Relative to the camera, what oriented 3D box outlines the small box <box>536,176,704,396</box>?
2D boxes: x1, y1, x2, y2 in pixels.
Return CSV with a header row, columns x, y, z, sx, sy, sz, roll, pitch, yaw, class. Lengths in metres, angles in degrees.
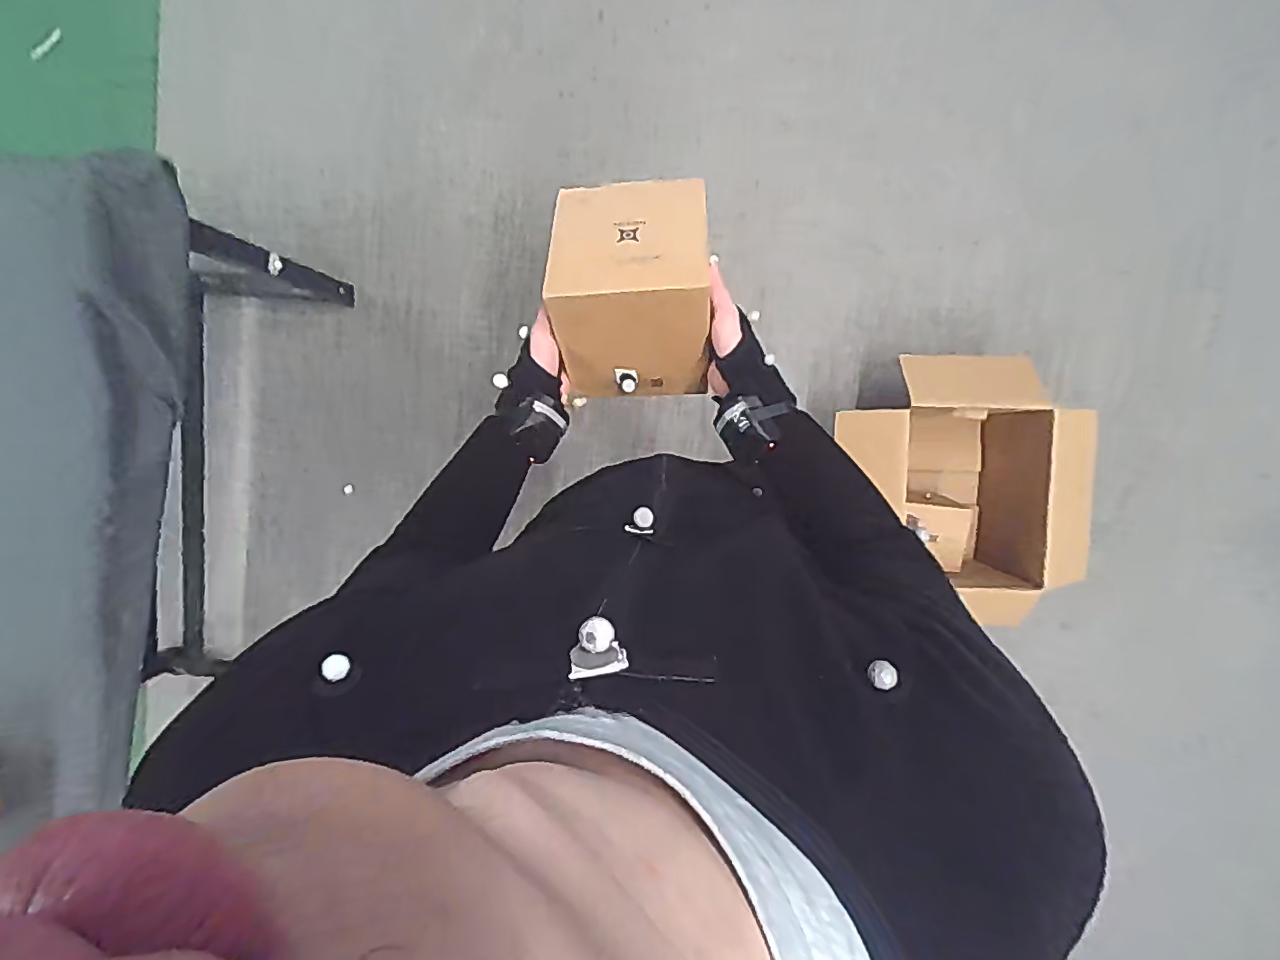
x,y,z,sx,sy,sz,roll,pitch,yaw,class
-0.012,-0.219,0.630,0.168,0.176,0.179,-2,61,5,small box
